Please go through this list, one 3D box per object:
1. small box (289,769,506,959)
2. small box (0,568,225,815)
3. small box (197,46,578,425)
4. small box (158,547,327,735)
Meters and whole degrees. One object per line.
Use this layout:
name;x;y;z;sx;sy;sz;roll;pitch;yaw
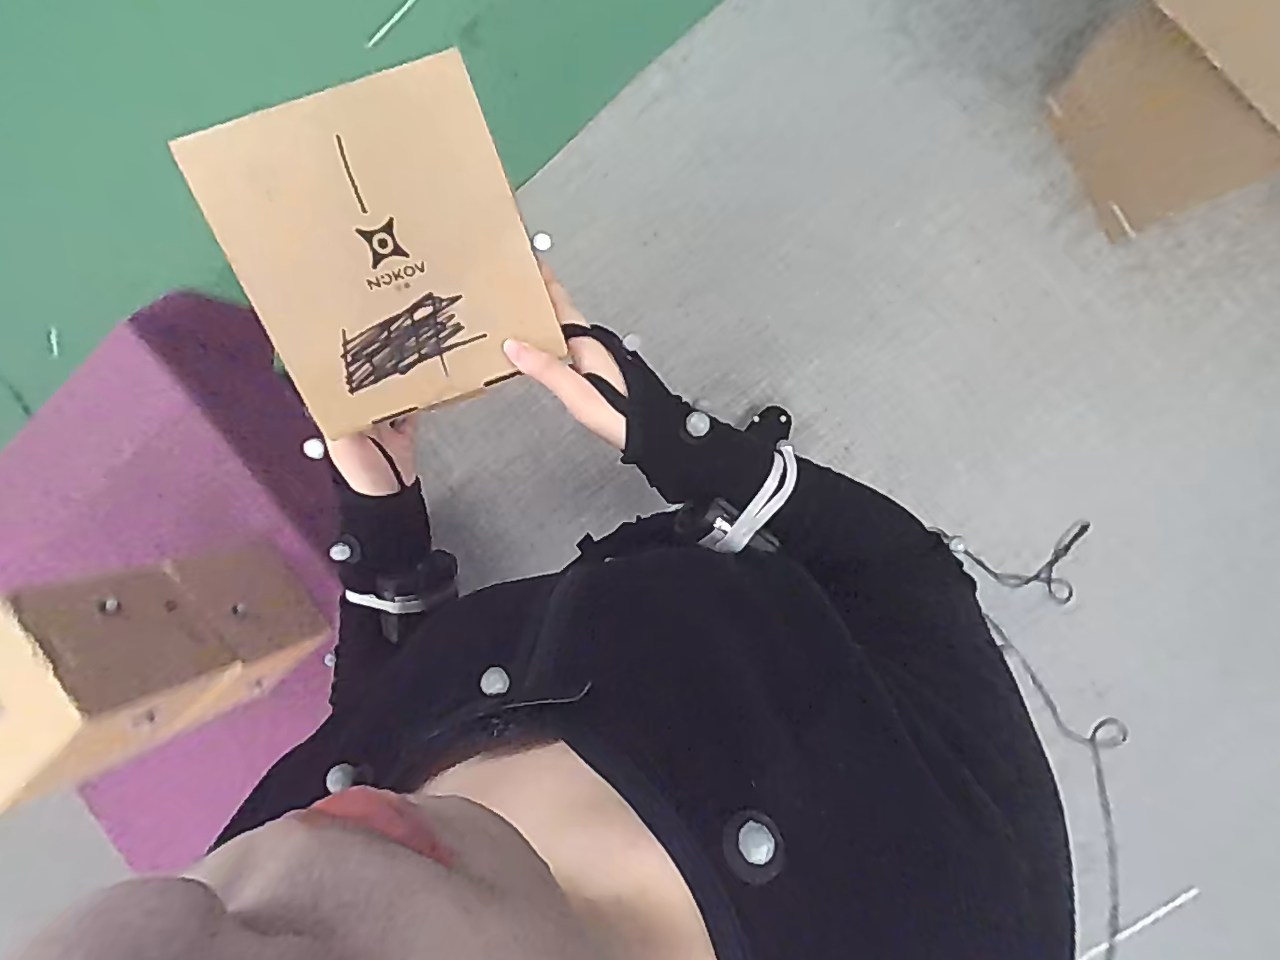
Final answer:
small box;-0.319;0.551;0.748;0.168;0.176;0.179;-42;85;7
small box;-0.630;0.223;0.617;0.179;0.176;0.168;-42;85;7
small box;-0.149;-0.161;0.397;0.168;0.176;0.179;-19;108;-2
small box;-0.603;0.216;0.778;0.168;0.176;0.179;-40;86;6
